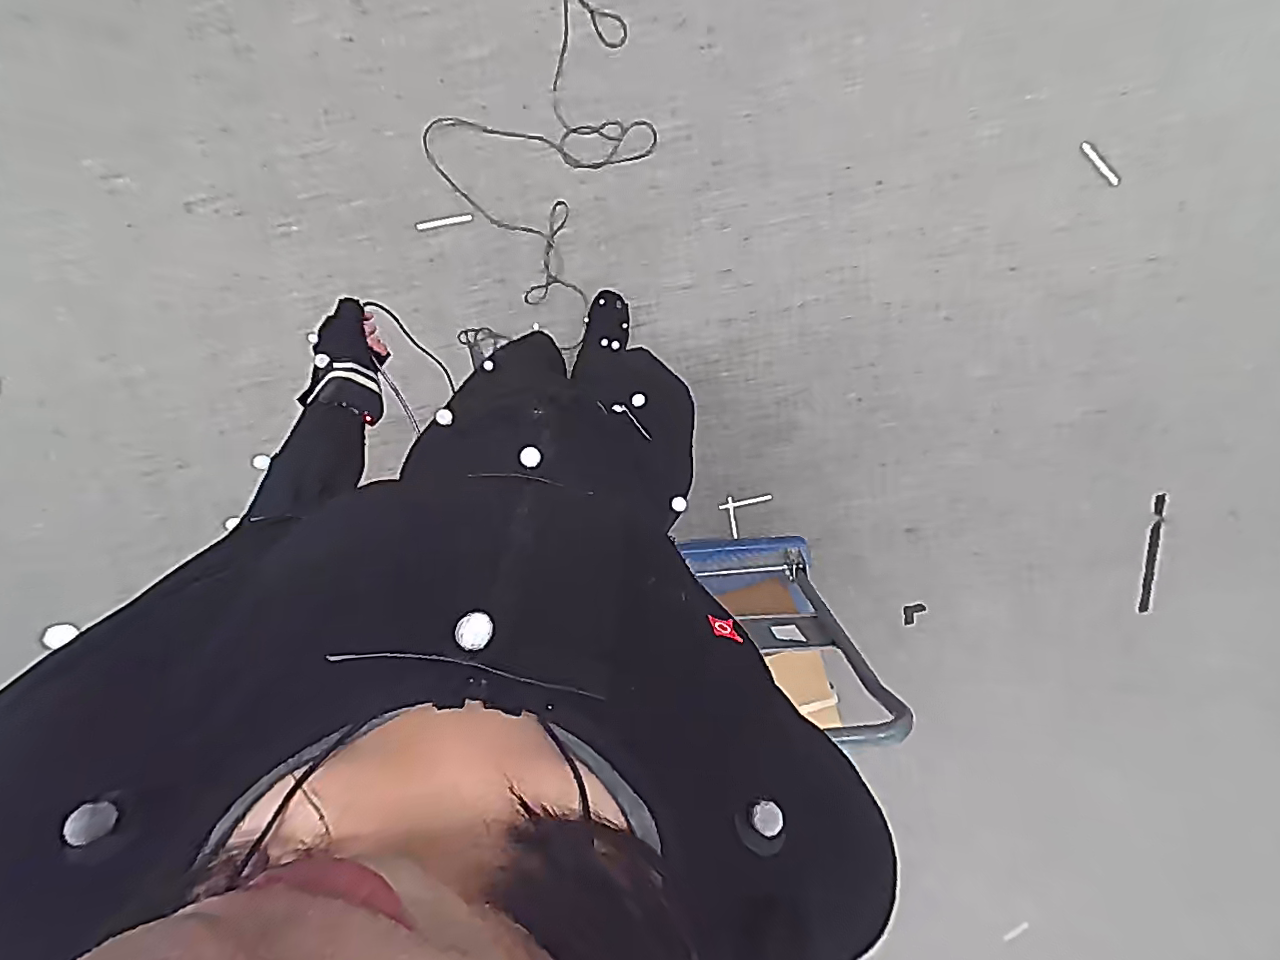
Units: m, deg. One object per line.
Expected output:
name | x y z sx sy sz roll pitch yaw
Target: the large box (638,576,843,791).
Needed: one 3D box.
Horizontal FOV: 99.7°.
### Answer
large box | 0.232 0.492 1.355 0.408 0.320 0.320 -18 106 6
